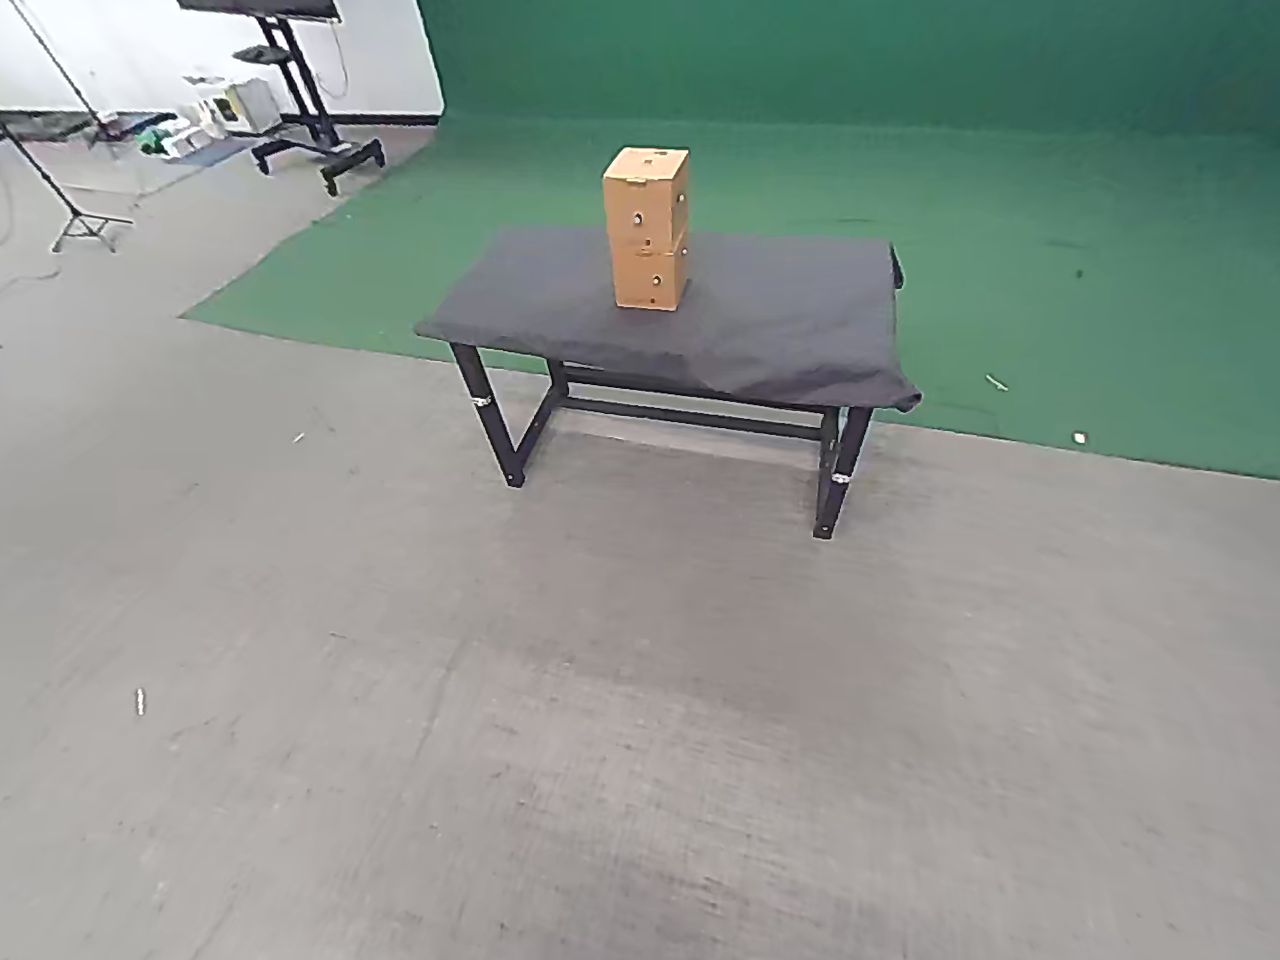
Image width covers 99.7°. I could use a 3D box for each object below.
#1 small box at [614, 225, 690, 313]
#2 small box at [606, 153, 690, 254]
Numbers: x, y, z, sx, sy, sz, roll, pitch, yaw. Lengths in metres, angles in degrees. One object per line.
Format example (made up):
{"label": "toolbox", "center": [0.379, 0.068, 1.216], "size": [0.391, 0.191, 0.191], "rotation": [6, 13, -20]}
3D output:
{"label": "small box", "center": [0.039, -0.571, 1.456], "size": [0.168, 0.176, 0.179], "rotation": [10, 50, 11]}
{"label": "small box", "center": [0.027, -0.680, 1.334], "size": [0.168, 0.176, 0.179], "rotation": [11, 53, 12]}
